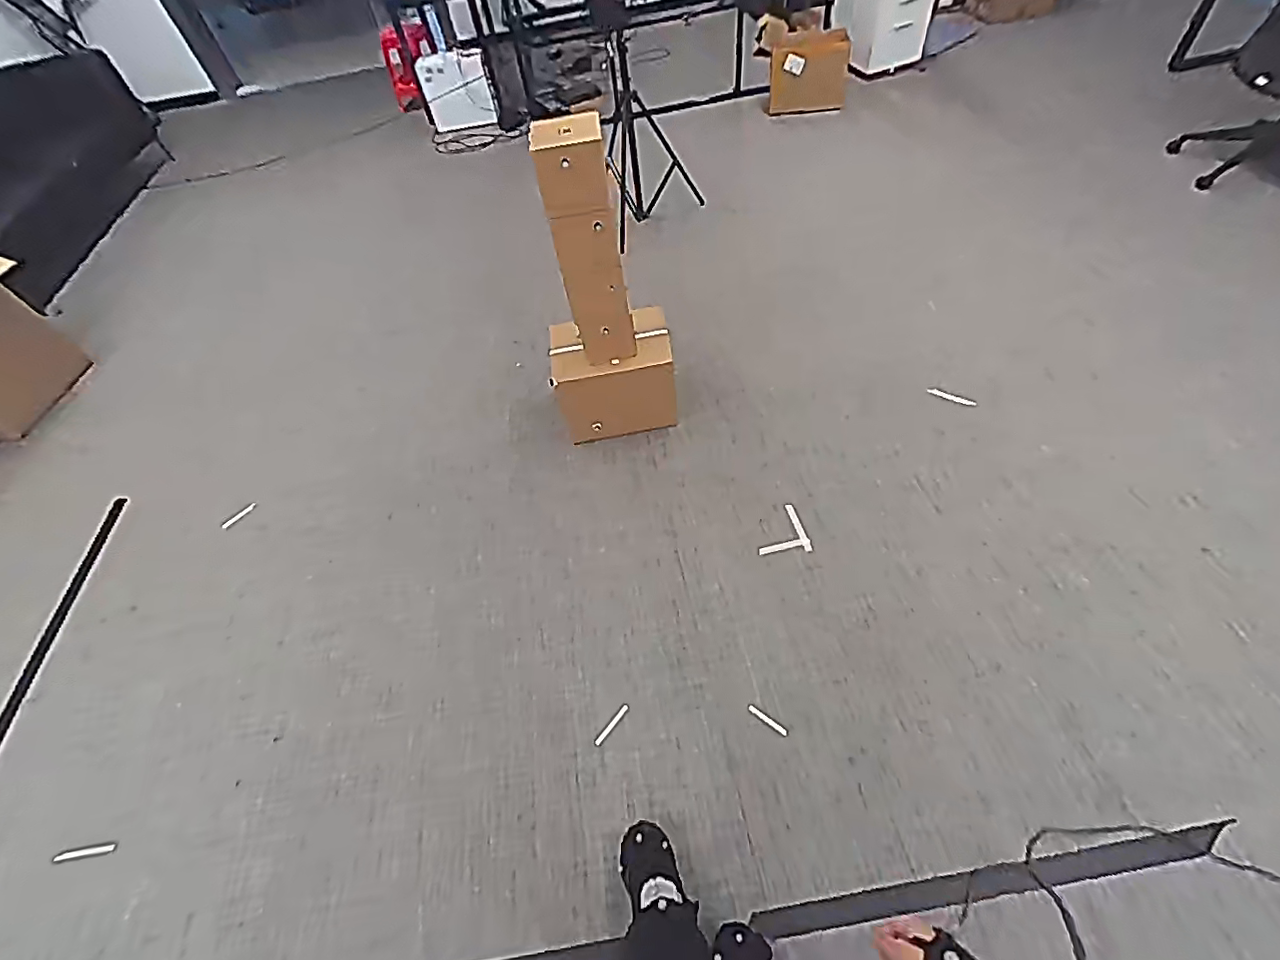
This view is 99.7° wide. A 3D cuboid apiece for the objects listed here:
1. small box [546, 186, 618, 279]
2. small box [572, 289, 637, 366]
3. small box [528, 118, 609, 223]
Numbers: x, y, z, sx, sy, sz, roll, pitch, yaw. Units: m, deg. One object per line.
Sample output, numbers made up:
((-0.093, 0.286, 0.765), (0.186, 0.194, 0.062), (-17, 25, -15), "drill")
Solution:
((-0.158, -0.691, 1.512), (0.179, 0.176, 0.168), (-9, 53, 2), "small box")
((-0.116, -0.495, 1.773), (0.179, 0.176, 0.168), (-12, 54, -1), "small box")
((-0.178, -0.788, 1.383), (0.179, 0.176, 0.168), (-9, 54, 2), "small box")
